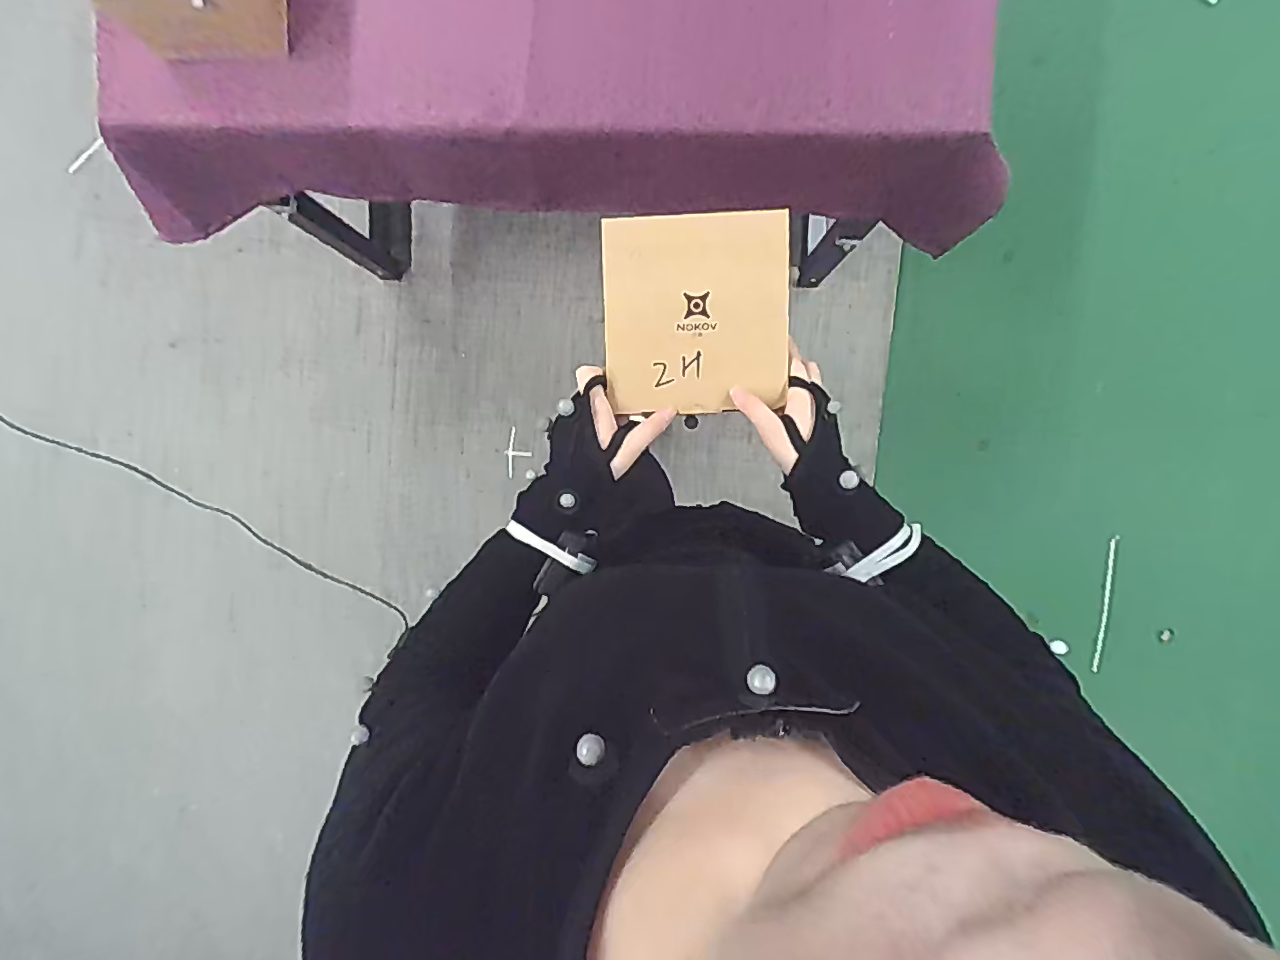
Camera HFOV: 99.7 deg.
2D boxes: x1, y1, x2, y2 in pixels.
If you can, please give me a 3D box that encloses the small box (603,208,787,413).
[{"bbox_3d":[0.052,-0.160,0.562,0.168,0.176,0.179,-1,97,4],"label":"small box"}]
